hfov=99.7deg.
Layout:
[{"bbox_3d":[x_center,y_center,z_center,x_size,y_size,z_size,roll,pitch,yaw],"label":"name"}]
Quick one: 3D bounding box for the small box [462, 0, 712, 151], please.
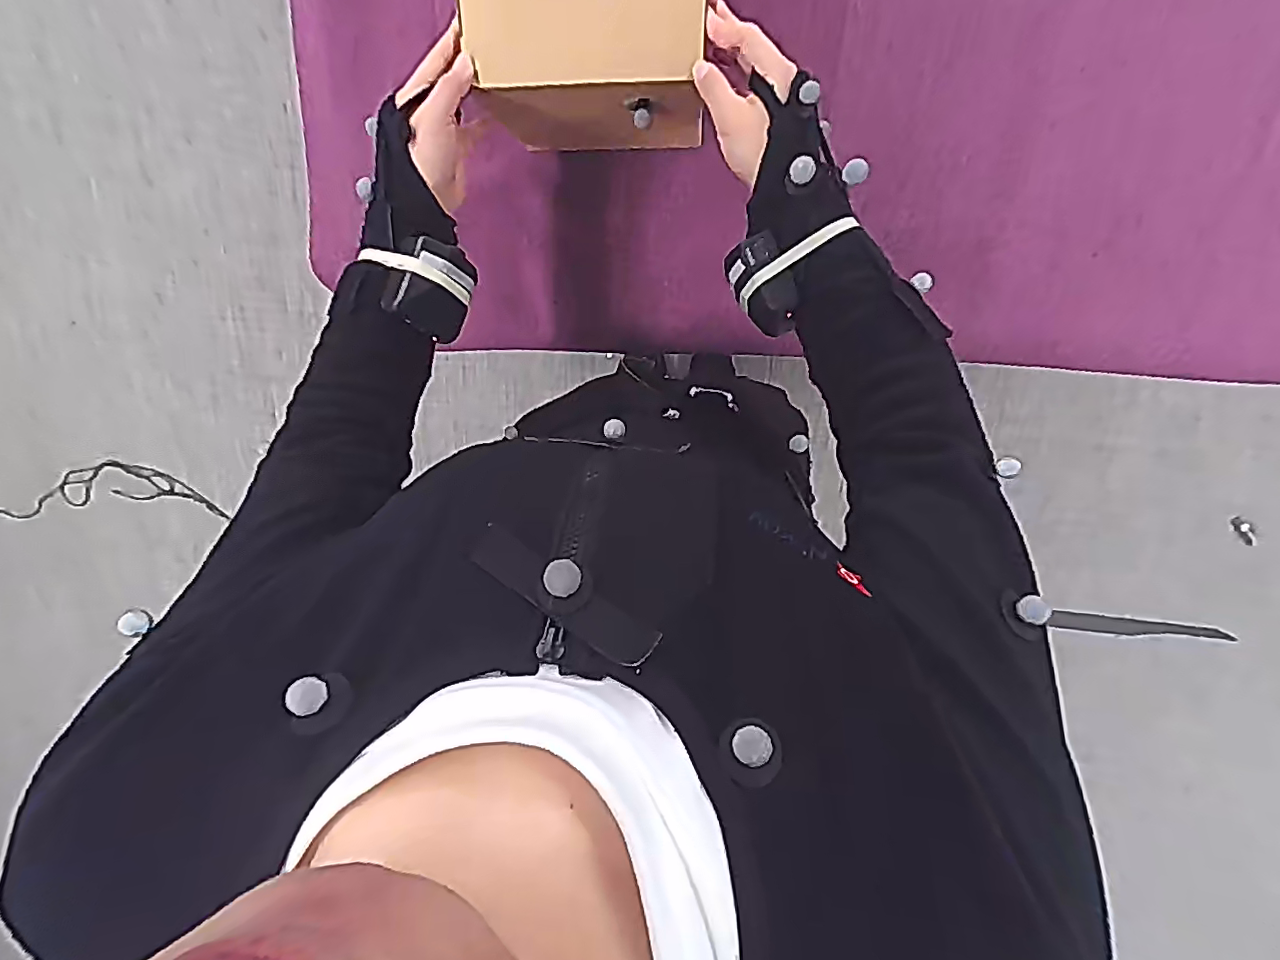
[{"bbox_3d":[-0.032,-0.384,0.440,0.179,0.176,0.168,2,107,5],"label":"small box"}]
